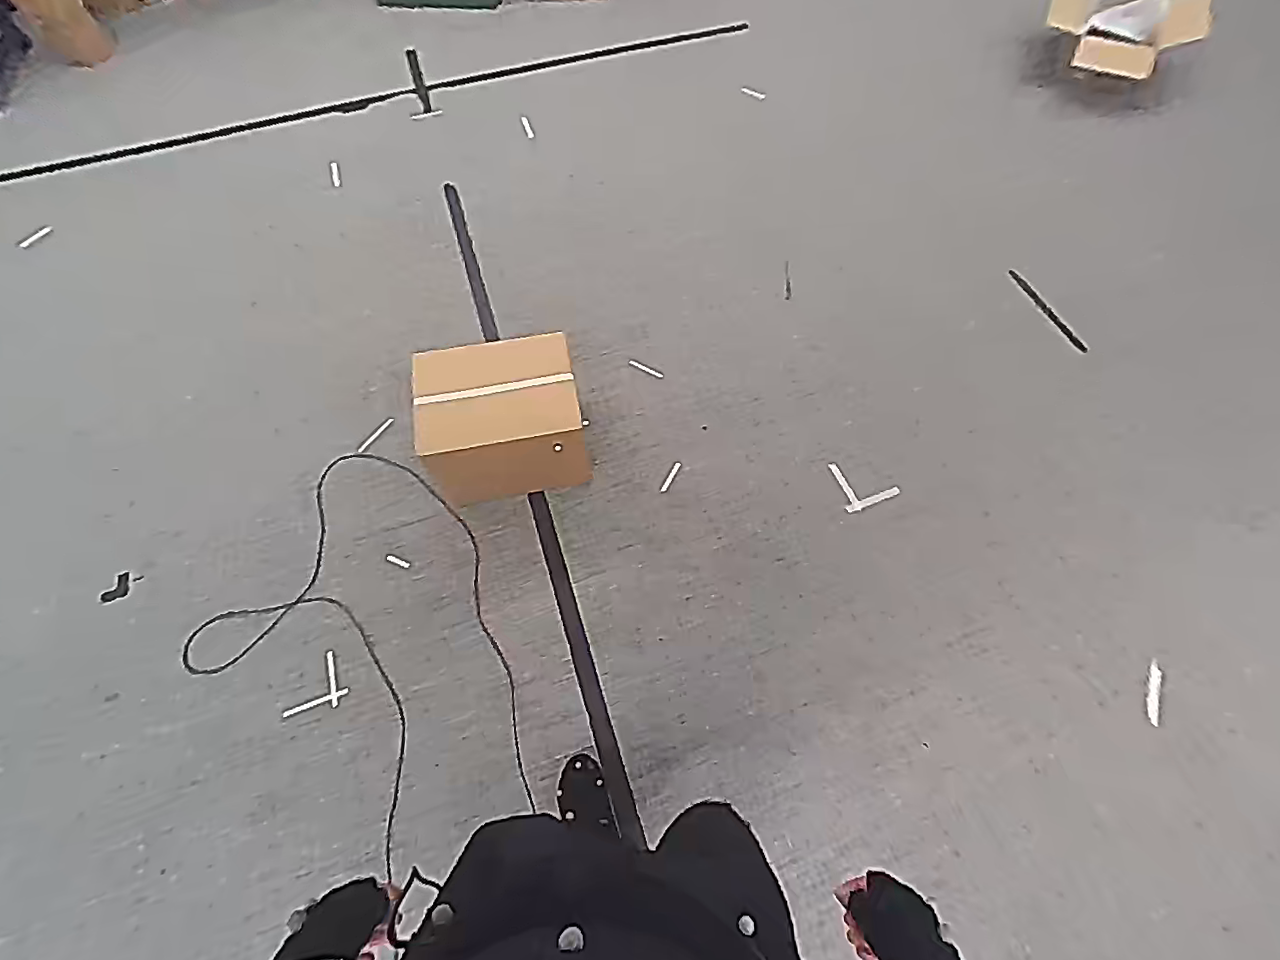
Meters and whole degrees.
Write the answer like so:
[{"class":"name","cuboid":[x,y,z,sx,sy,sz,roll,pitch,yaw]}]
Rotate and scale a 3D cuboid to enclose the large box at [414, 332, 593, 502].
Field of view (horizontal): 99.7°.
[{"class":"large box","cuboid":[-0.361,-0.164,1.494,0.408,0.320,0.320,-10,65,-6]}]
